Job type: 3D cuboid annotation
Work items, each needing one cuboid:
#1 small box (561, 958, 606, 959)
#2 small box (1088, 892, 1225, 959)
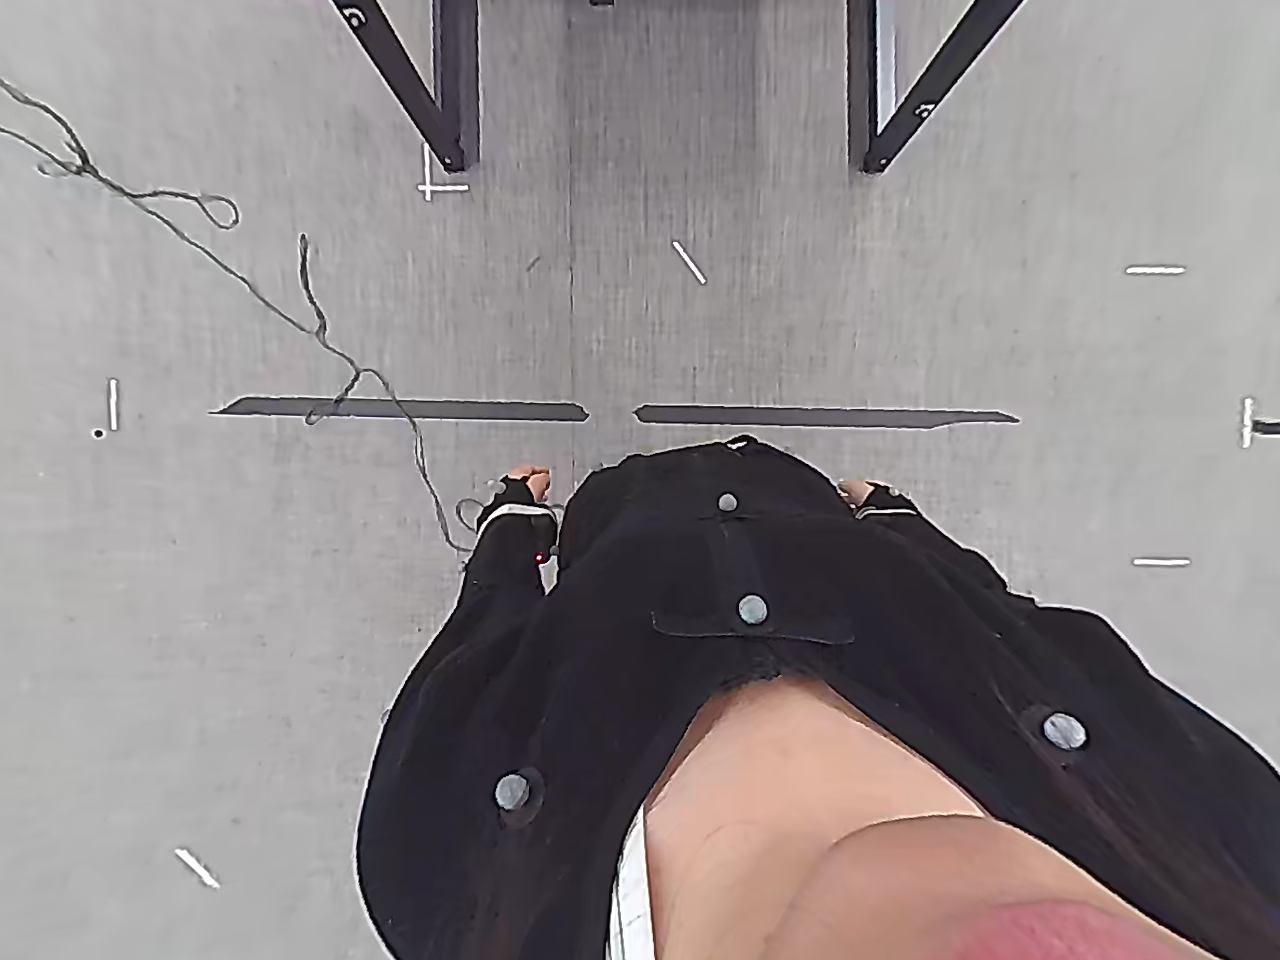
[{"bbox_3d":[-0.153,1.455,1.475,0.168,0.176,0.179,-4,93,1],"label":"small box"},{"bbox_3d":[1.226,1.144,1.297,0.168,0.176,0.179,4,91,-1],"label":"small box"}]
